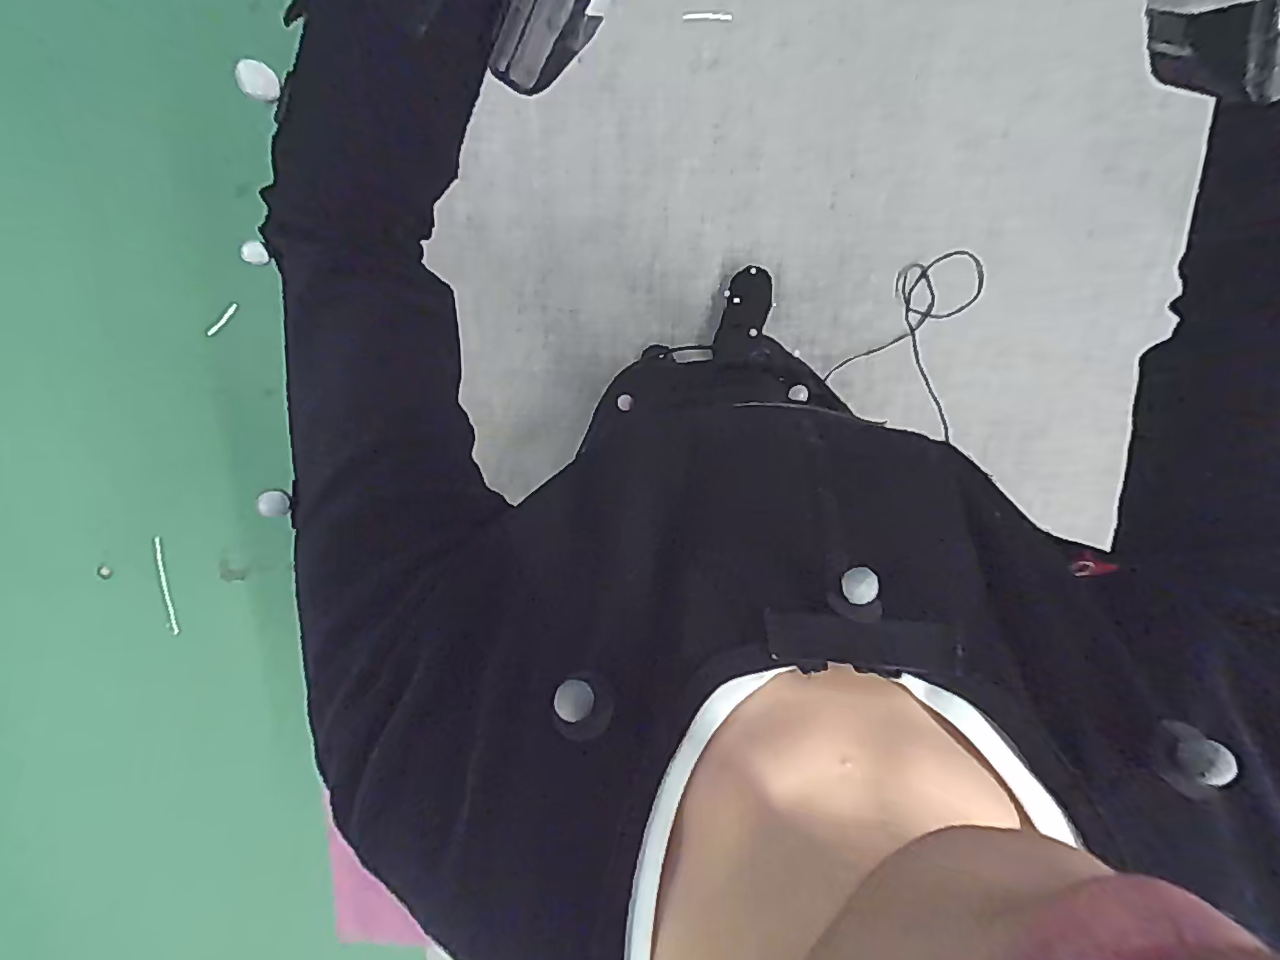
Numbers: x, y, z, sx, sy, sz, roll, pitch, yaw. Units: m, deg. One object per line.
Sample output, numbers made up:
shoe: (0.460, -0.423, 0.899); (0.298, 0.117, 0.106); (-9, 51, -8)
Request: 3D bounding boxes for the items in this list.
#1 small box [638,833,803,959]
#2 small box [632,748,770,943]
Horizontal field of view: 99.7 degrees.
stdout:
small box: (0.085, 0.552, 0.620); (0.168, 0.176, 0.179); (5, 104, -1)
small box: (0.082, 0.527, 0.783); (0.168, 0.176, 0.179); (6, 103, -1)
